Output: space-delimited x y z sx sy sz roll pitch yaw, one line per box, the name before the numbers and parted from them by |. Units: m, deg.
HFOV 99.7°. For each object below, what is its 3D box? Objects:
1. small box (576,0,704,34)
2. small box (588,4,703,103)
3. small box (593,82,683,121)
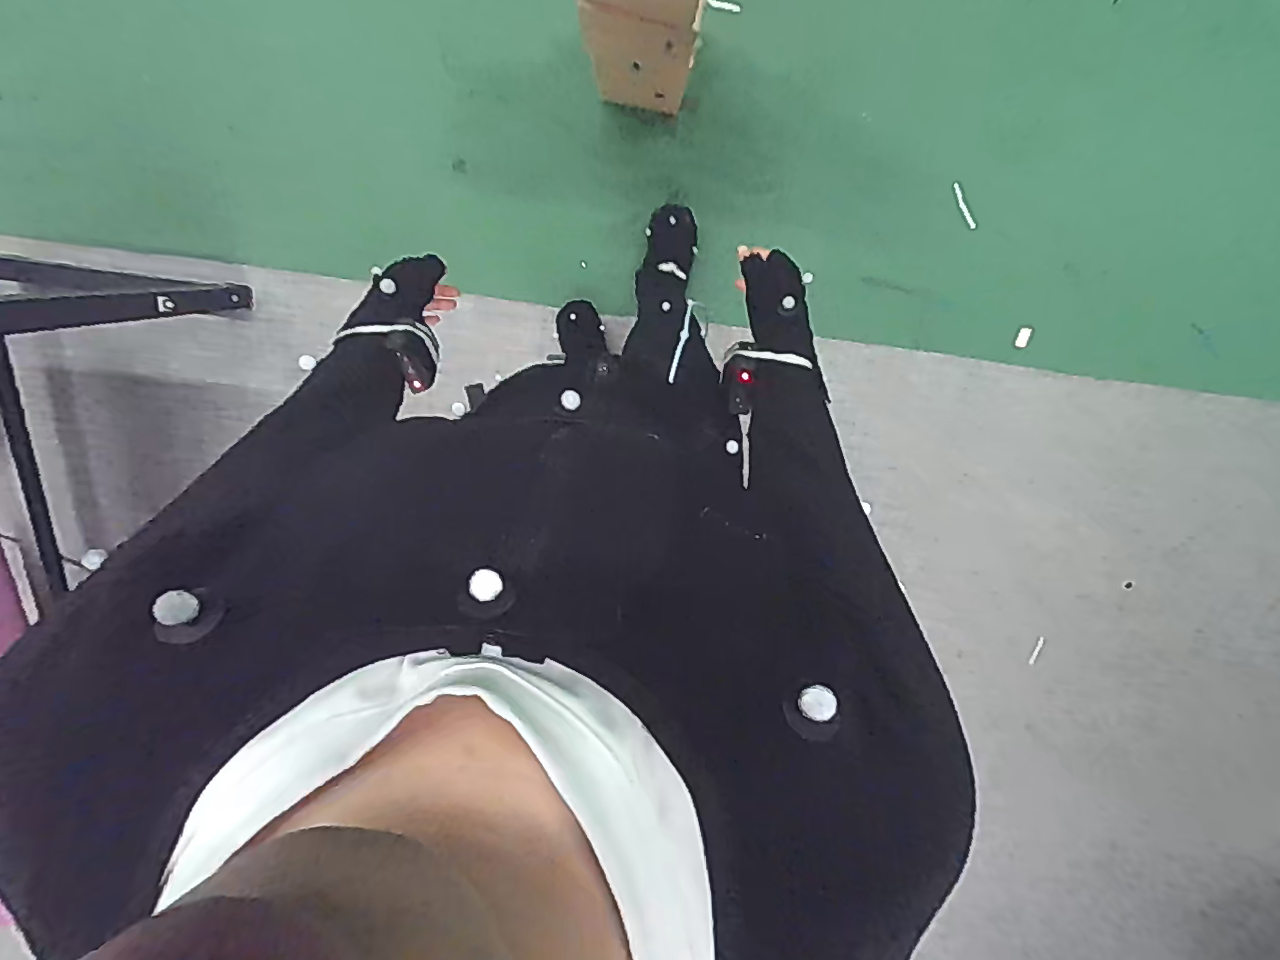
small box | 0.008 -0.680 0.648 0.179 0.176 0.168 11 110 -5
small box | 0.009 -0.795 0.956 0.179 0.176 0.168 9 111 -5
small box | 0.004 -0.860 1.106 0.179 0.176 0.168 8 110 -5
